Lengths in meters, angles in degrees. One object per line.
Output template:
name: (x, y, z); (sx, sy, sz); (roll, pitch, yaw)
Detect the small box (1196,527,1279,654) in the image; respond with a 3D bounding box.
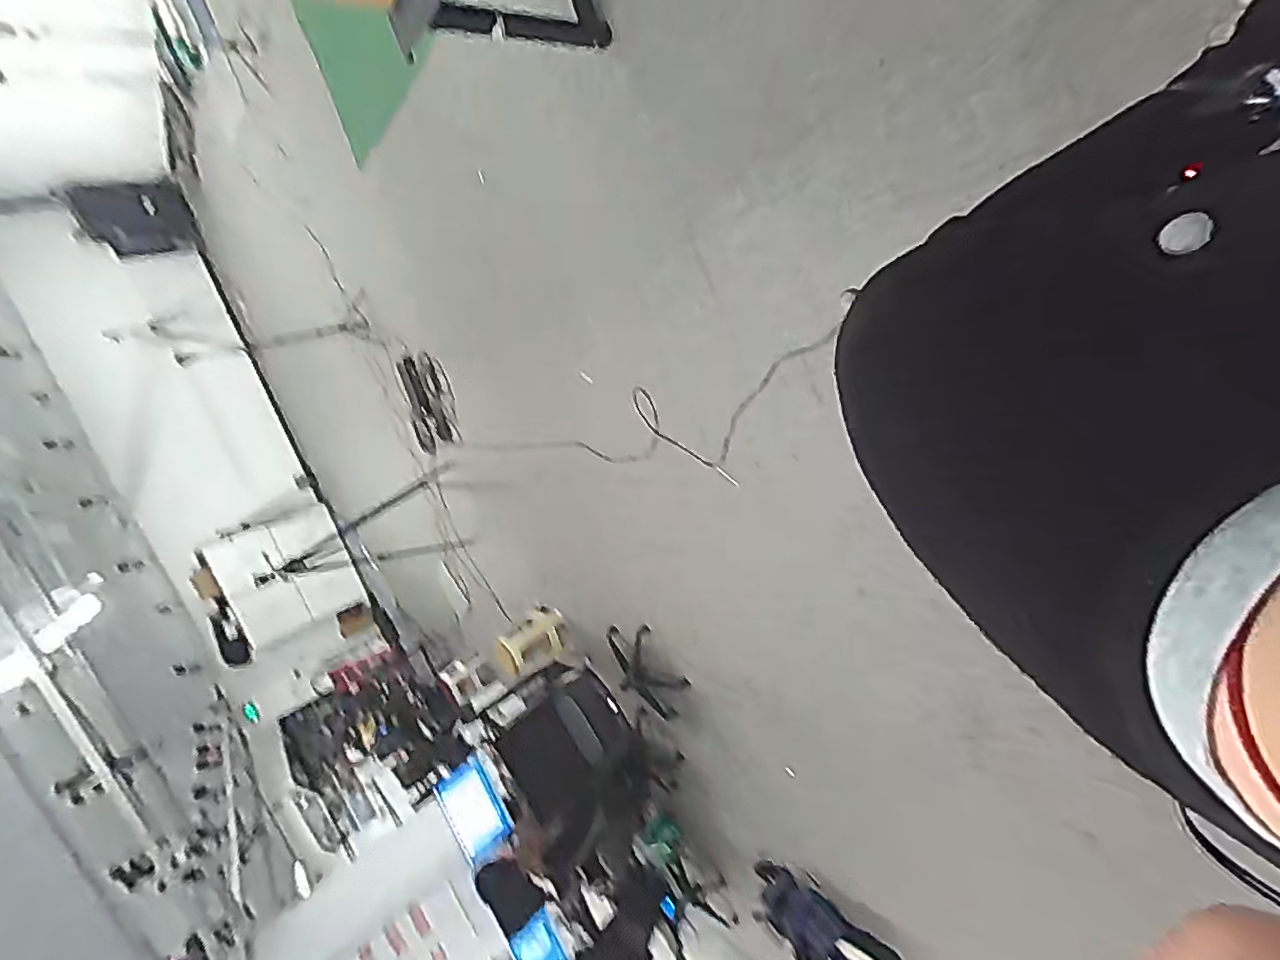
small box: (1.154, 0.199, 0.996); (0.168, 0.176, 0.179); (-2, 113, 52)

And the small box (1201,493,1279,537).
small box: (1.269, 0.139, 1.094); (0.168, 0.176, 0.179); (-5, 109, 51)
